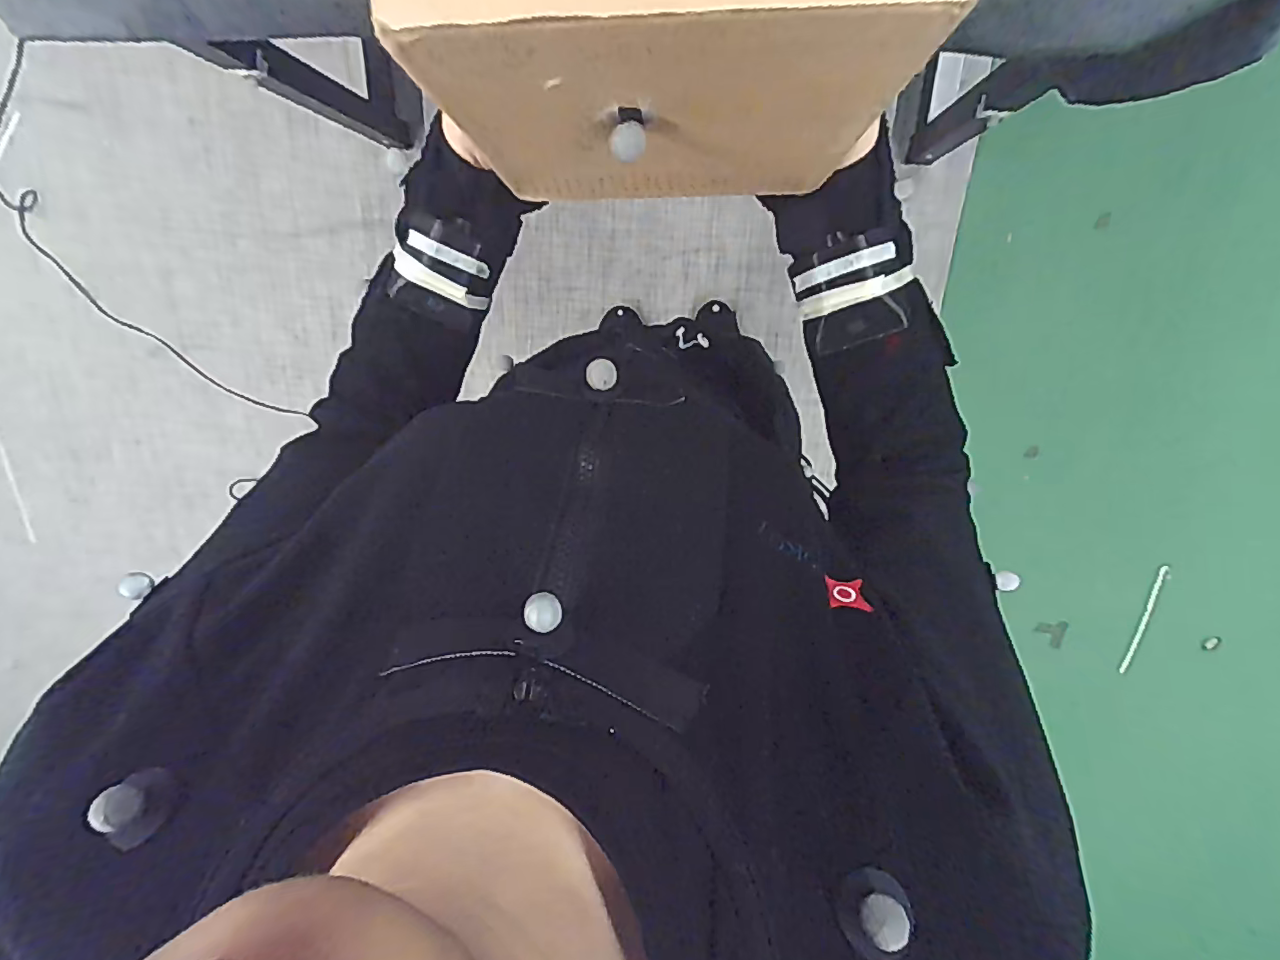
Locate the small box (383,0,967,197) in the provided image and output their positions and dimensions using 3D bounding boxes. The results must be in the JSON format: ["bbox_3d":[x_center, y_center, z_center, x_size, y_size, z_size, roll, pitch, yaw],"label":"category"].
[{"bbox_3d":[0.013,-0.227,0.219,0.179,0.176,0.168,-1,102,3],"label":"small box"}]
